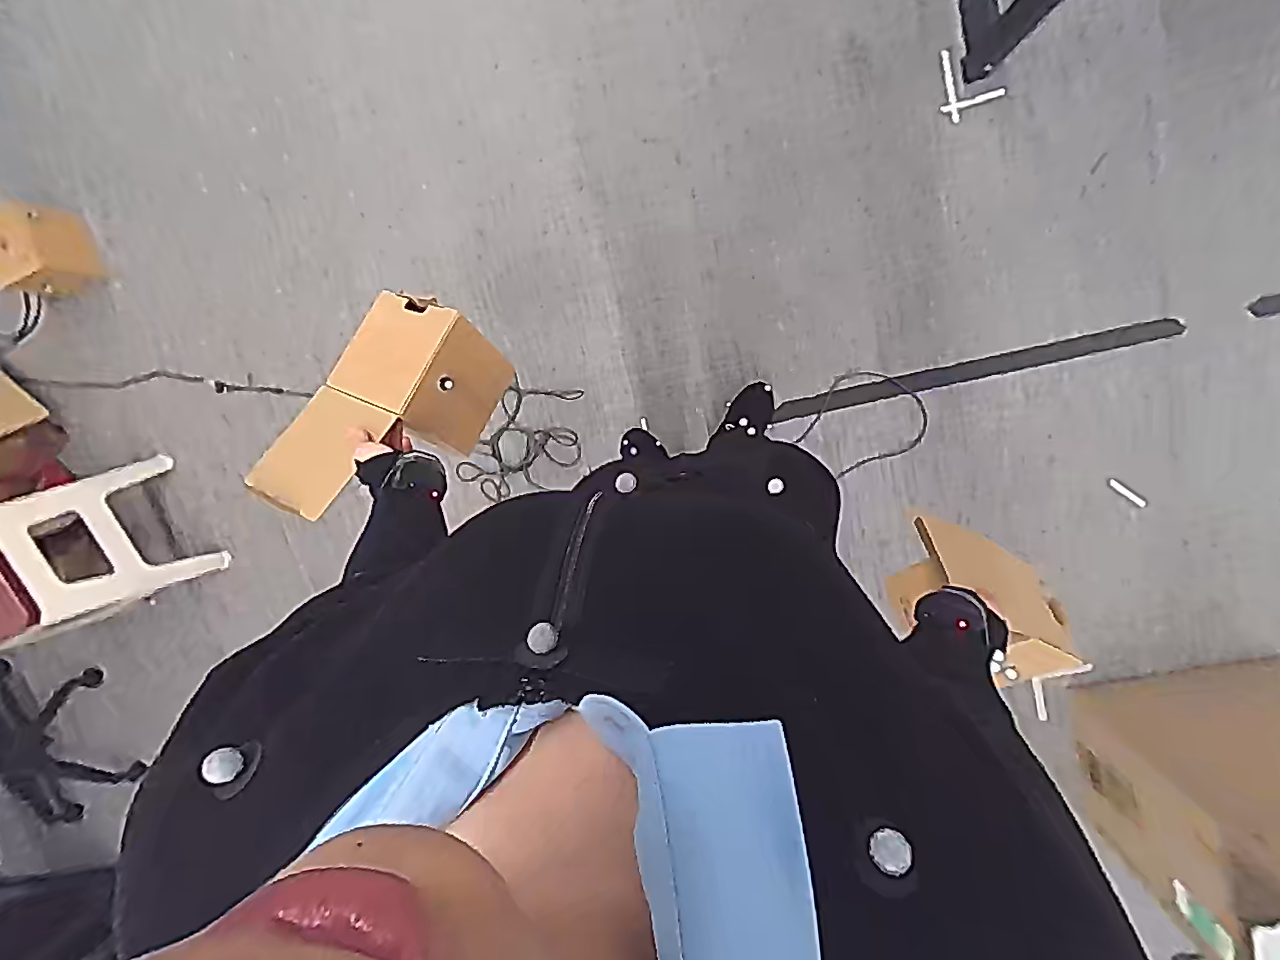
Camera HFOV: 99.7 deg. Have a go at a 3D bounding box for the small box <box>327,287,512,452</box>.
[{"bbox_3d":[-0.332,-0.165,0.845,0.168,0.176,0.179,21,78,24],"label":"small box"}]
